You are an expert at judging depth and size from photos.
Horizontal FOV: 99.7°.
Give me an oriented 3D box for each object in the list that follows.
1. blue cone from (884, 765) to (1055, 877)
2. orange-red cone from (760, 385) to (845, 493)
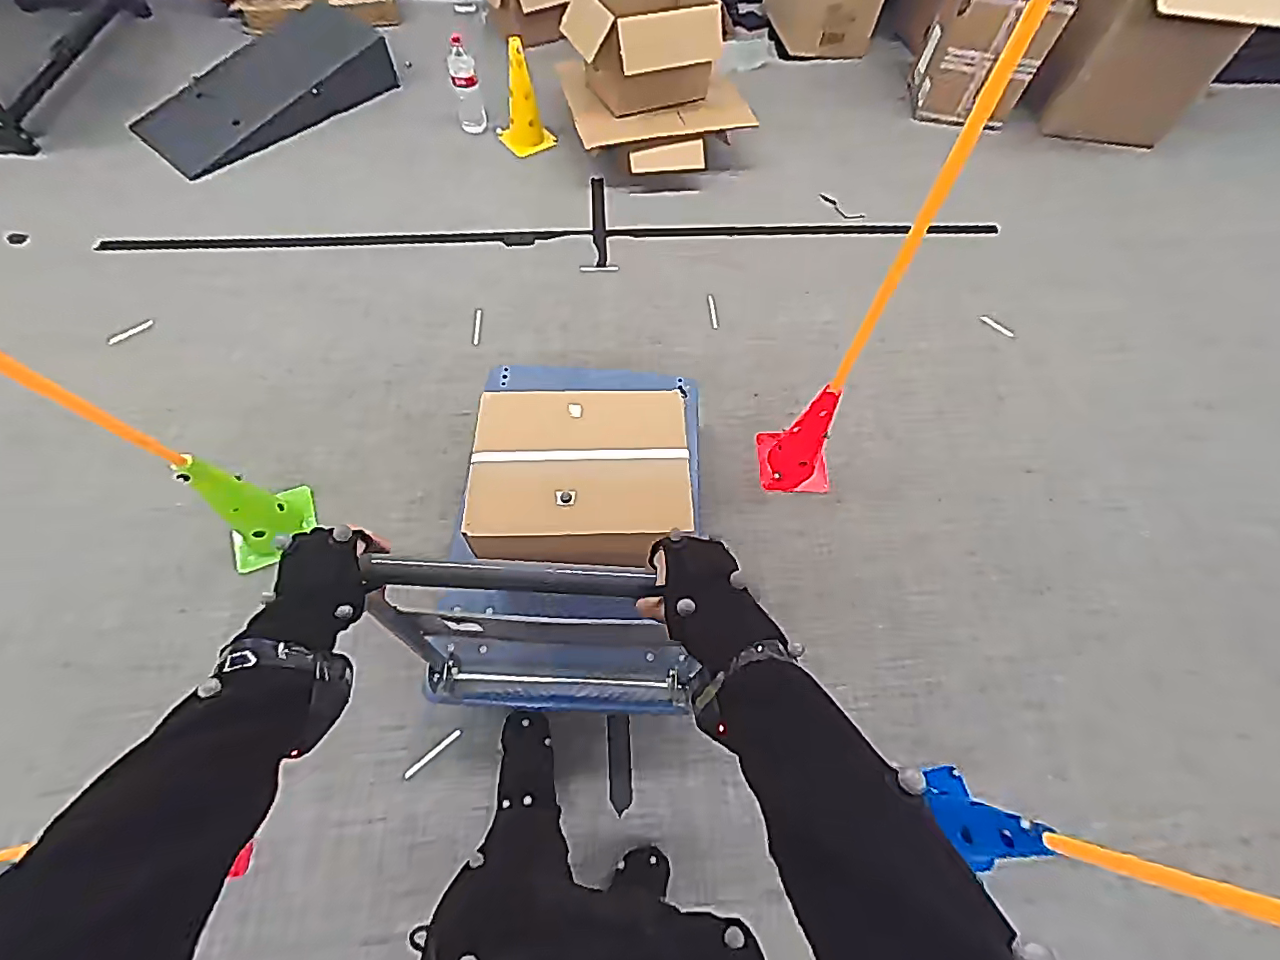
[{"bbox_3d":[0.657,0.664,1.041,0.193,0.380,0.192,-6,61,-7],"label":"blue cone"},{"bbox_3d":[0.464,-0.133,1.439,0.199,0.360,0.198,4,62,-2],"label":"orange-red cone"}]
